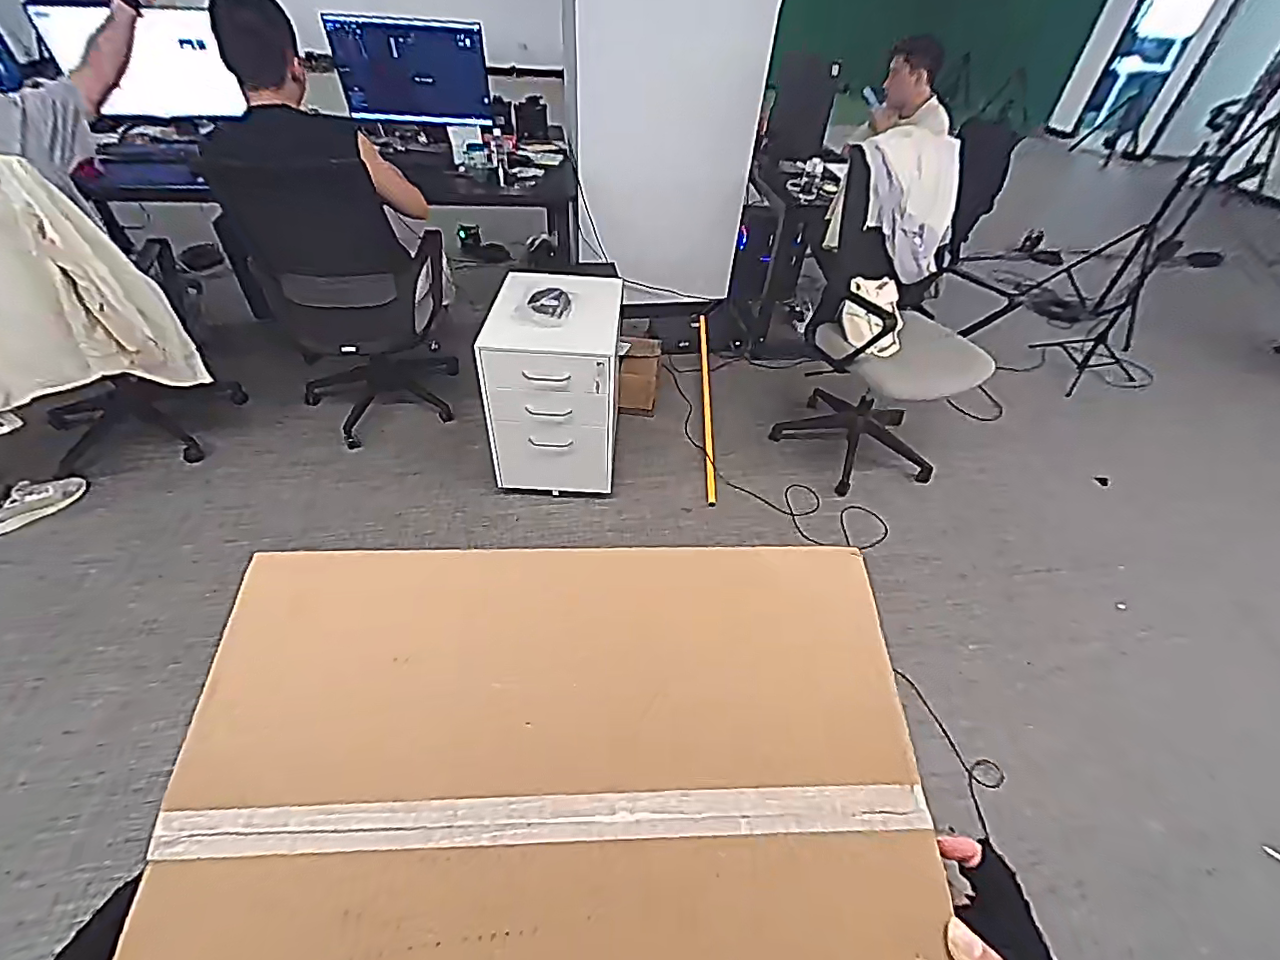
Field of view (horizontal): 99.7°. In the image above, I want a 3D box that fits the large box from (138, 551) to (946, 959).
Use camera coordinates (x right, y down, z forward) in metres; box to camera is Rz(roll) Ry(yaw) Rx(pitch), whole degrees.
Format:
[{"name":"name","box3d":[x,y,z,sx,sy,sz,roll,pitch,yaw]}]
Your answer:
[{"name":"large box","box3d":[-0.052,0.261,0.425,0.408,0.320,0.320,0,60,-3]}]
